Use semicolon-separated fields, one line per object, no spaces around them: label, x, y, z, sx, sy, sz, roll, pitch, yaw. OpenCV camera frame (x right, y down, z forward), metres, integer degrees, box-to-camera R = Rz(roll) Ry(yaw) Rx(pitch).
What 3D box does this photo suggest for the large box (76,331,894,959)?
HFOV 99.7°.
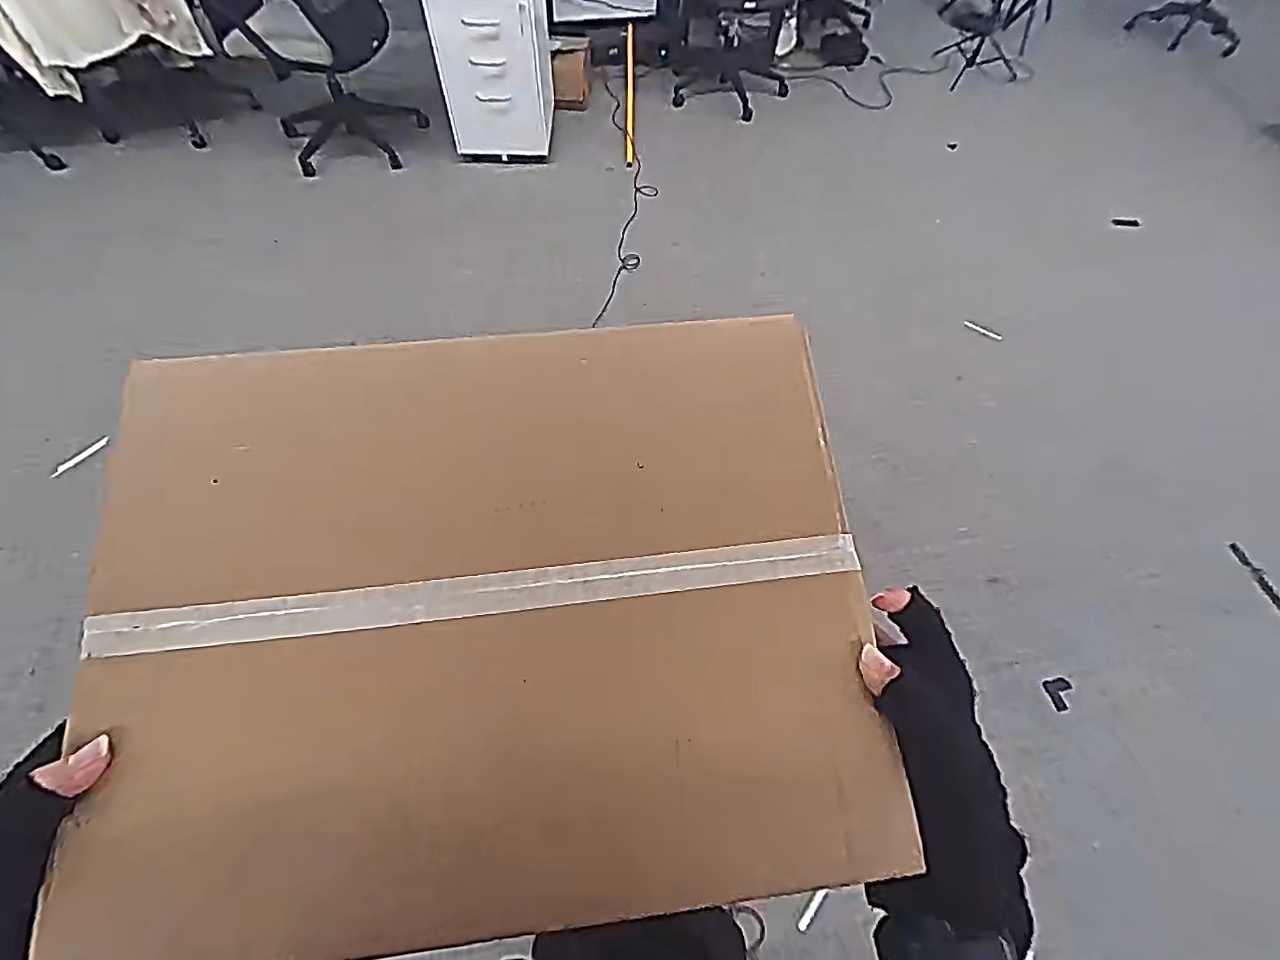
large box;-0.086;0.108;0.445;0.408;0.320;0.320;-6;73;-4
